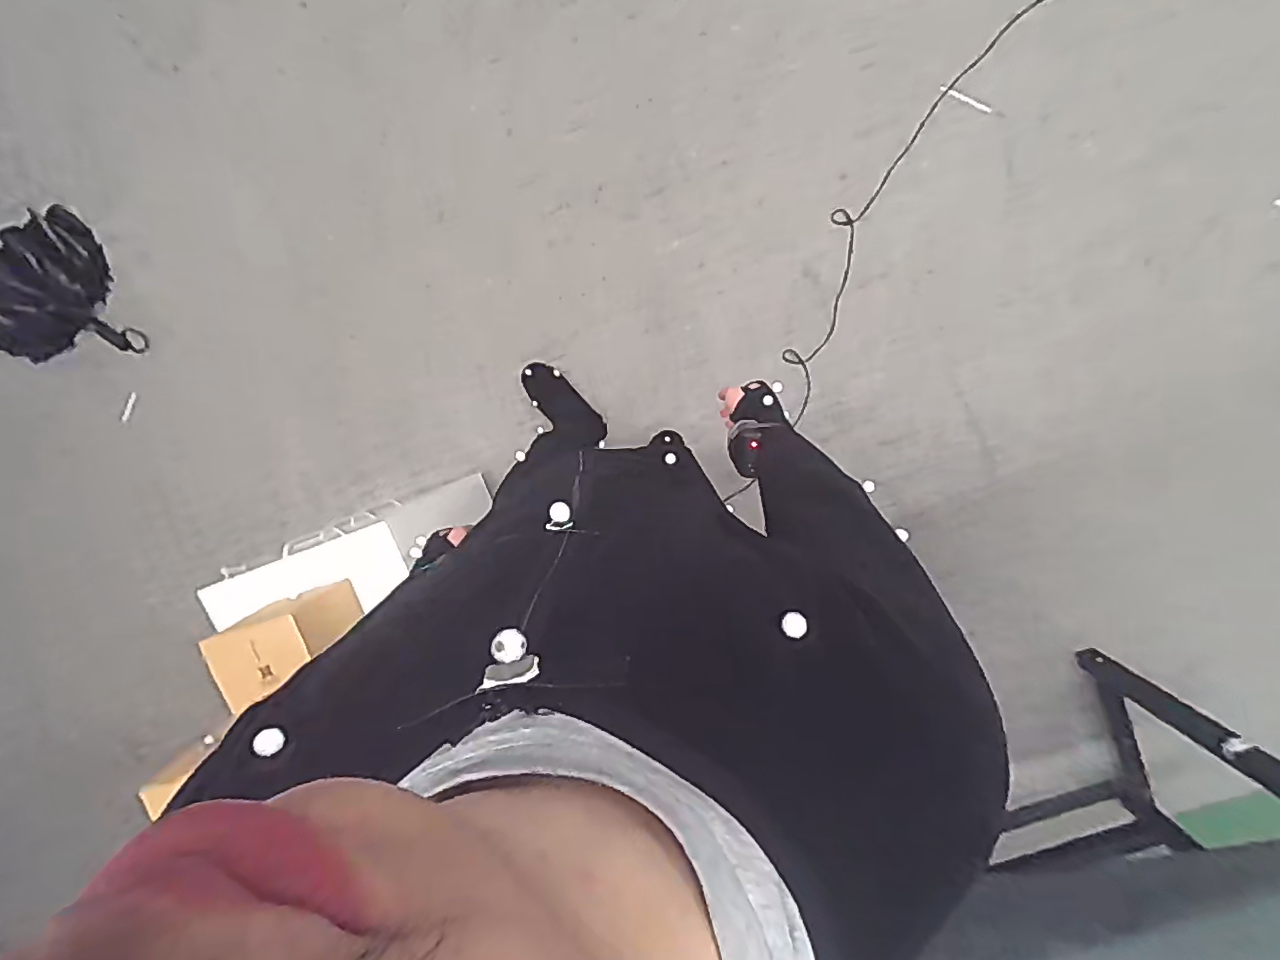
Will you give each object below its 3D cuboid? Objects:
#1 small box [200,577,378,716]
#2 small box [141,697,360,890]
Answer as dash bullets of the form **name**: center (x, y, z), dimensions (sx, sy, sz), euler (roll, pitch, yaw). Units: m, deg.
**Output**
- **small box**: center (-0.594, 0.295, 0.943), dimensions (0.168, 0.176, 0.179), euler (-17, 99, 4)
- **small box**: center (-0.562, 0.451, 0.807), dimensions (0.168, 0.176, 0.179), euler (-18, 100, 6)
